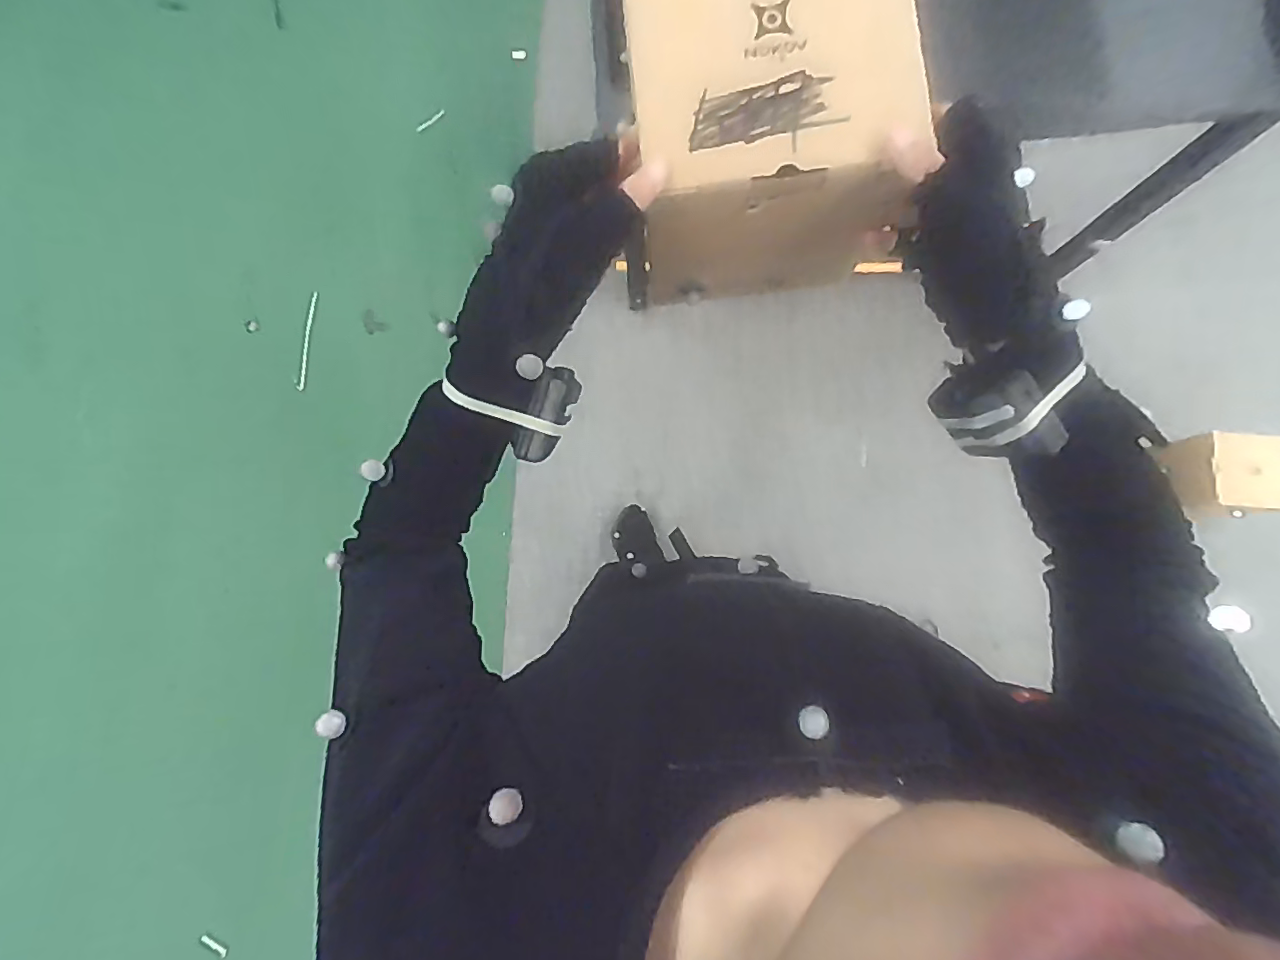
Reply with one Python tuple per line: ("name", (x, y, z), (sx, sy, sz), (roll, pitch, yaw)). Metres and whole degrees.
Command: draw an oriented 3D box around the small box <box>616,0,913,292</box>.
("small box", (0.076, -0.255, 0.401), (0.168, 0.176, 0.179), (-6, 85, 3))
